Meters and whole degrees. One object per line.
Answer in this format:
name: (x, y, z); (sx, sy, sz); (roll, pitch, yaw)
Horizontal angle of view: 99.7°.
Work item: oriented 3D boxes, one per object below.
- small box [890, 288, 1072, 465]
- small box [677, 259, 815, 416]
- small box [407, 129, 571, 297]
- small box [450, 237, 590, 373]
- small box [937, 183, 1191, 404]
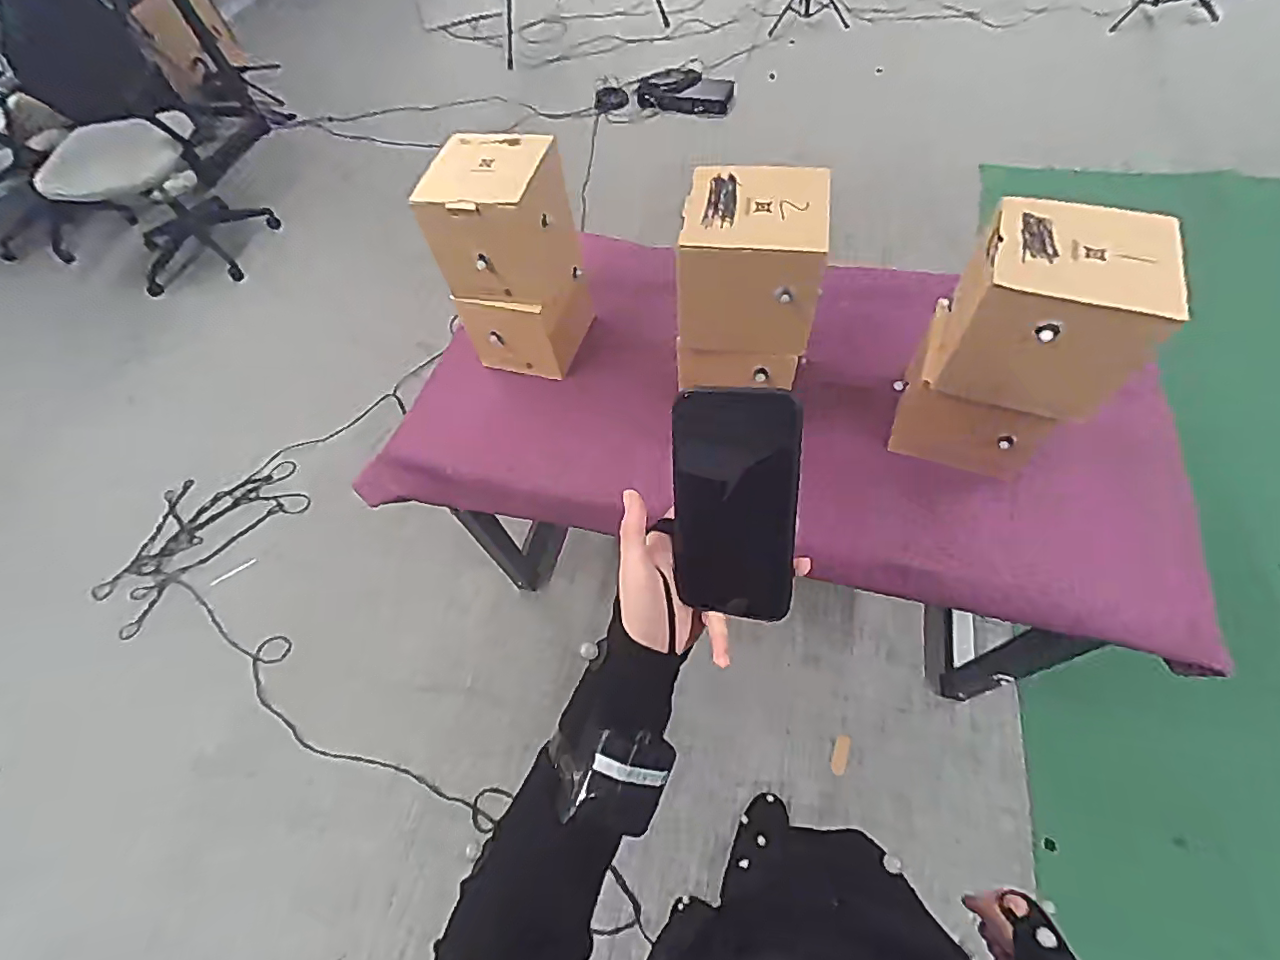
small box: (0.487, -0.143, 0.780); (0.179, 0.176, 0.168); (17, 63, 17)
small box: (0.166, -0.222, 0.865); (0.179, 0.176, 0.168); (11, 62, 14)
small box: (-0.215, -0.405, 0.830); (0.168, 0.176, 0.179); (8, 62, 11)
small box: (-0.200, -0.315, 0.967); (0.168, 0.176, 0.179); (12, 62, 14)
small box: (0.473, -0.211, 0.631); (0.179, 0.176, 0.168); (17, 63, 16)
